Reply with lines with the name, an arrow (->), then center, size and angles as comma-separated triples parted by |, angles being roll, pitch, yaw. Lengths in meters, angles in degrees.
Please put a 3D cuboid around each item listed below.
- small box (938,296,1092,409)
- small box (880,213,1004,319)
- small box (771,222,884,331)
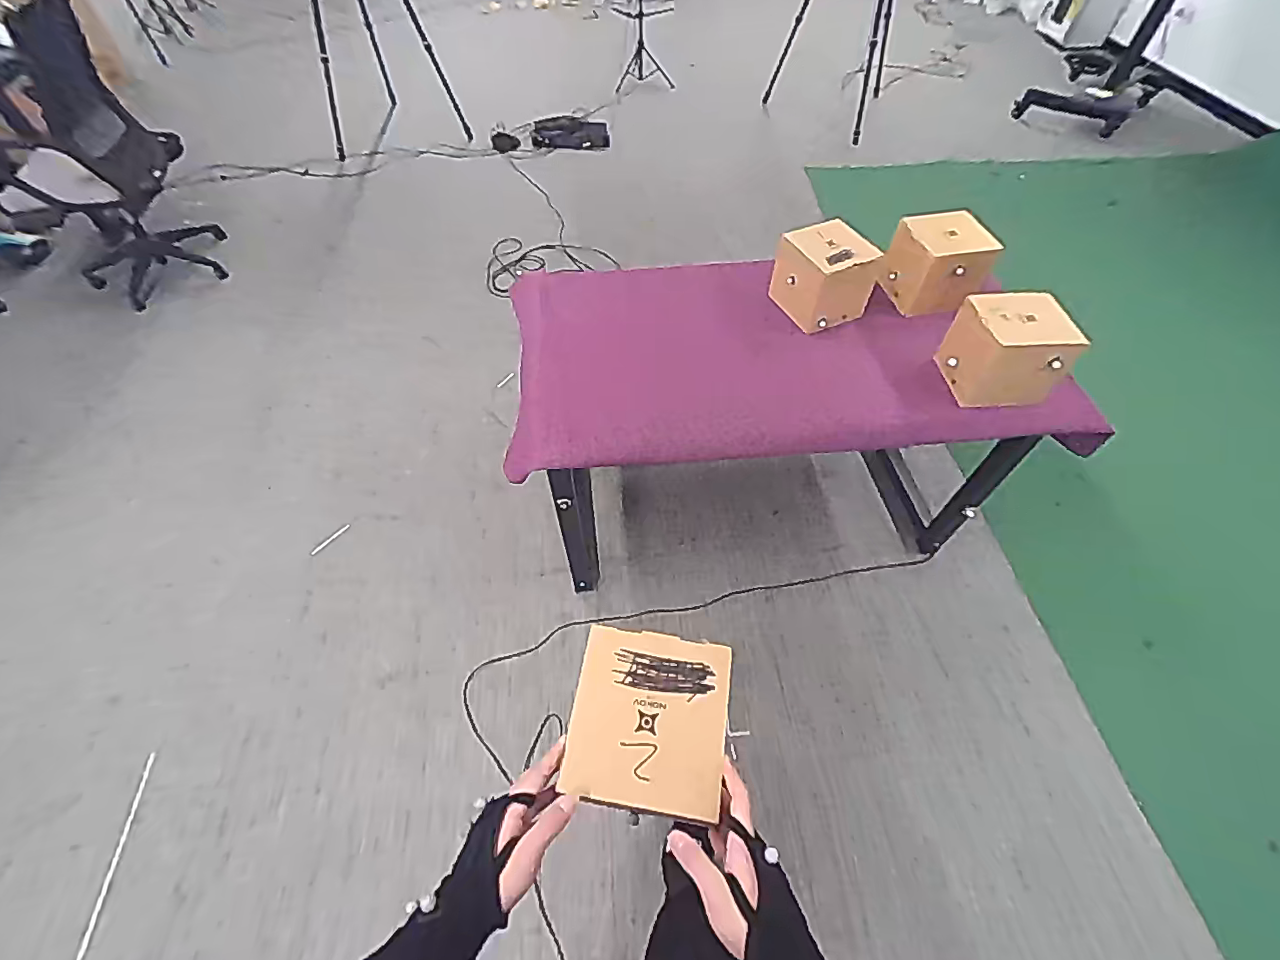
small box -> 0.765, -0.262, 1.126 | 0.179, 0.176, 0.168 | -2, 53, 0
small box -> 0.722, -0.516, 1.313 | 0.179, 0.176, 0.168 | -10, 55, -5
small box -> 0.436, -0.475, 1.286 | 0.168, 0.176, 0.179 | -21, 56, -14
